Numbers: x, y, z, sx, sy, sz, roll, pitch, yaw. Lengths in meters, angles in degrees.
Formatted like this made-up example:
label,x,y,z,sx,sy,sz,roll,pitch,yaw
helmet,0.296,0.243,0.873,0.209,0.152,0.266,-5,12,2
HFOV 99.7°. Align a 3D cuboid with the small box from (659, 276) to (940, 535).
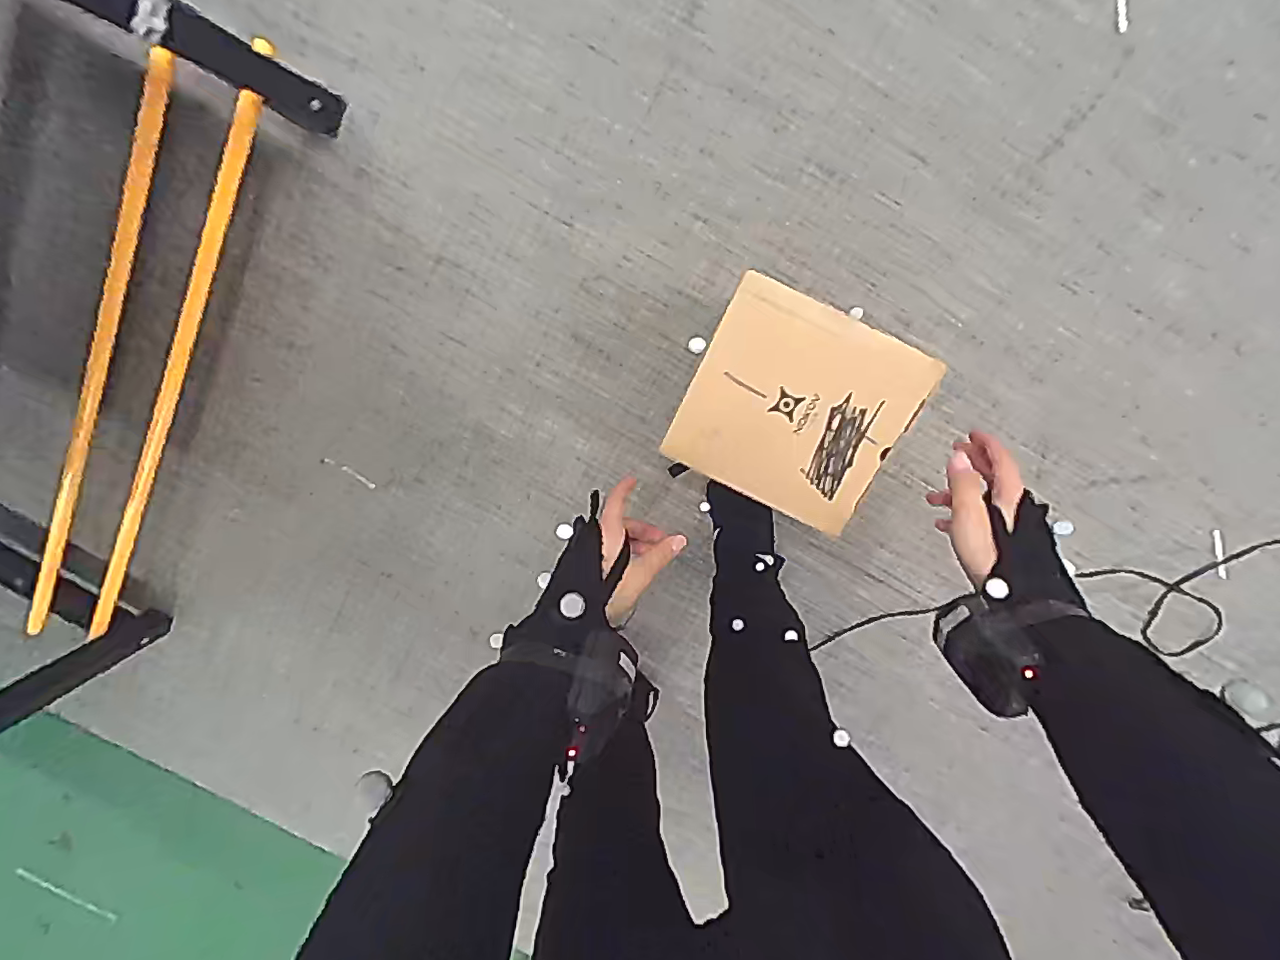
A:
label,x,y,z,sx,sy,sz,roll,pitch,yaw
small box,0.138,-0.079,0.525,0.179,0.176,0.168,26,108,0
